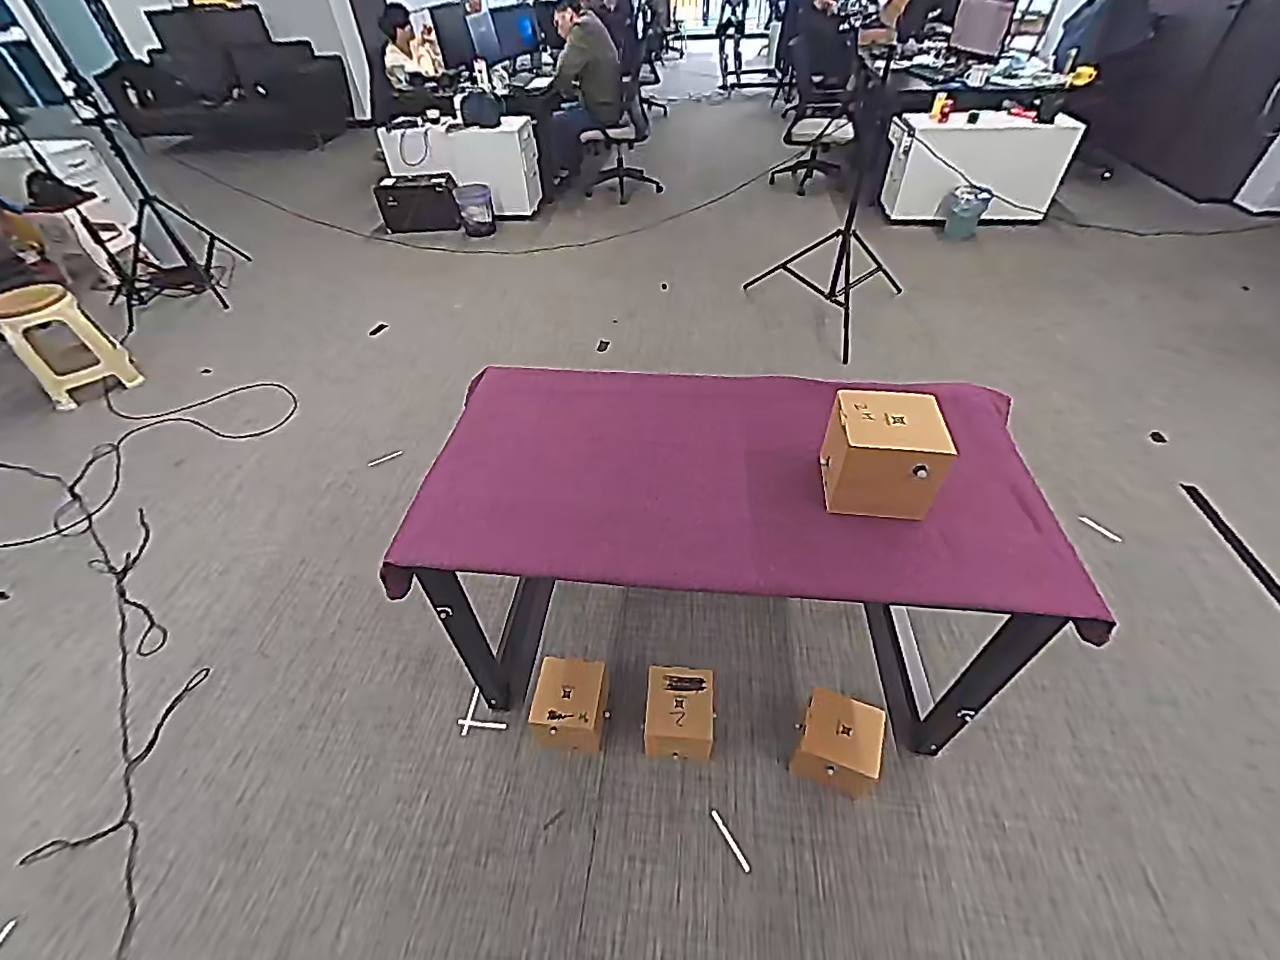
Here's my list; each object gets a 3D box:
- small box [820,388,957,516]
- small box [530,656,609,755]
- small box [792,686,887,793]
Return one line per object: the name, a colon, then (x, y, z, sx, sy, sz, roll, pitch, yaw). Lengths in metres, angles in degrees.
small box: (0.447, -0.050, 1.003, 0.179, 0.176, 0.168, 4, 44, 7)
small box: (-0.176, 0.593, 1.422, 0.168, 0.176, 0.179, 4, 44, 7)
small box: (0.491, 0.647, 1.338, 0.179, 0.176, 0.168, 15, 48, 19)
